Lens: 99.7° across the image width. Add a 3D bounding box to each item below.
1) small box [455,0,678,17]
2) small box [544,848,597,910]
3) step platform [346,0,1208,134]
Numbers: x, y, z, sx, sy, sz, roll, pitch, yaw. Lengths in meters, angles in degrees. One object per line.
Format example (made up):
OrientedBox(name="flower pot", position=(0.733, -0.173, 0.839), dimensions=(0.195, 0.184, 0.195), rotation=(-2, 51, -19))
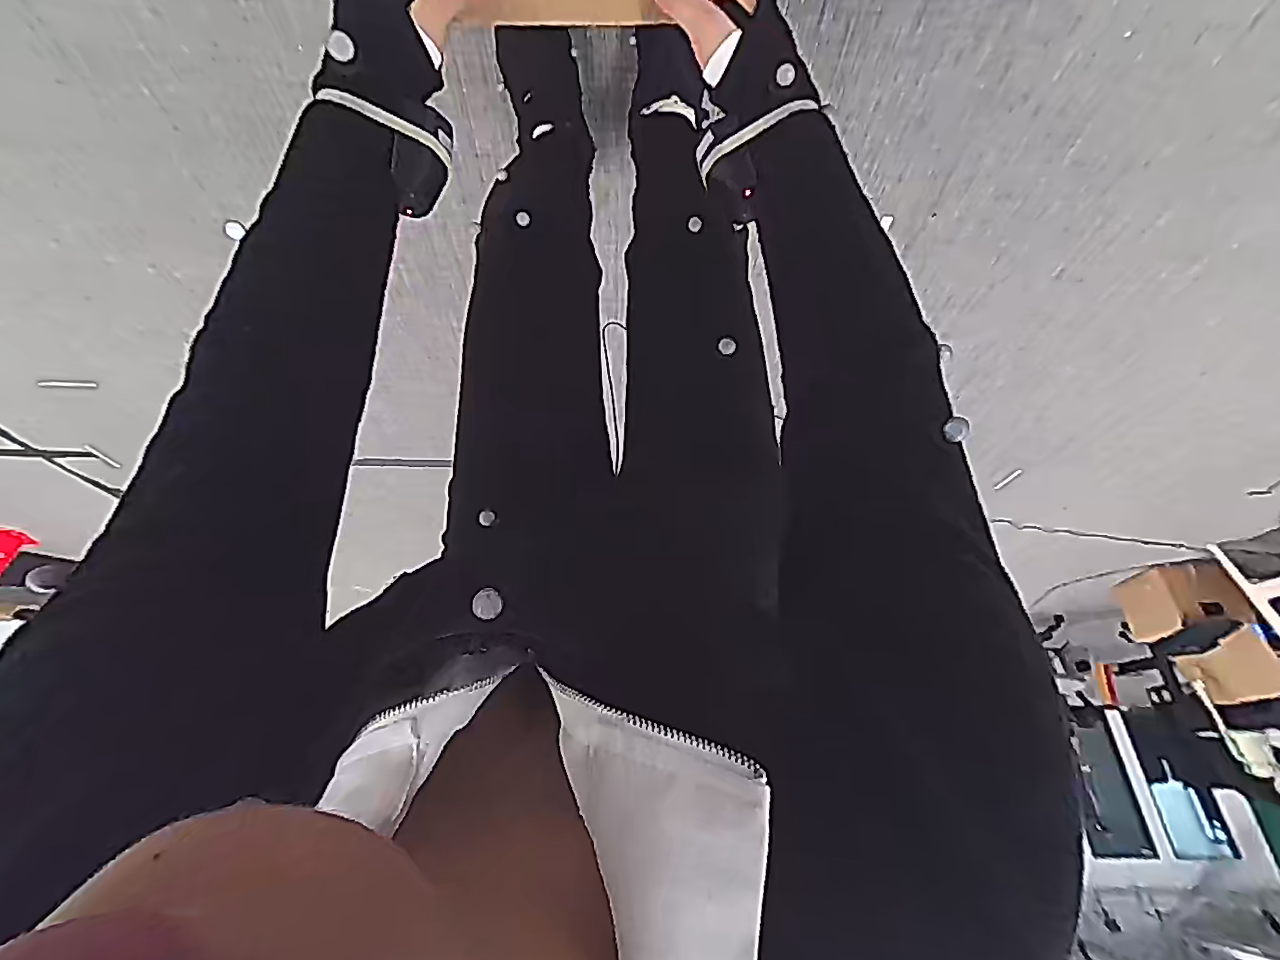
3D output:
OrientedBox(name="small box", position=(-0.054, -0.472, 0.385), dimensions=(0.179, 0.176, 0.168), rotation=(1, 154, 1))
OrientedBox(name="small box", position=(-0.261, 1.512, 2.058), dimensions=(0.179, 0.176, 0.168), rotation=(0, 153, 0))
OrientedBox(name="step platform", position=(0.106, -0.479, 0.430), dimensions=(0.684, 0.204, 0.286), rotation=(0, 151, -1))
